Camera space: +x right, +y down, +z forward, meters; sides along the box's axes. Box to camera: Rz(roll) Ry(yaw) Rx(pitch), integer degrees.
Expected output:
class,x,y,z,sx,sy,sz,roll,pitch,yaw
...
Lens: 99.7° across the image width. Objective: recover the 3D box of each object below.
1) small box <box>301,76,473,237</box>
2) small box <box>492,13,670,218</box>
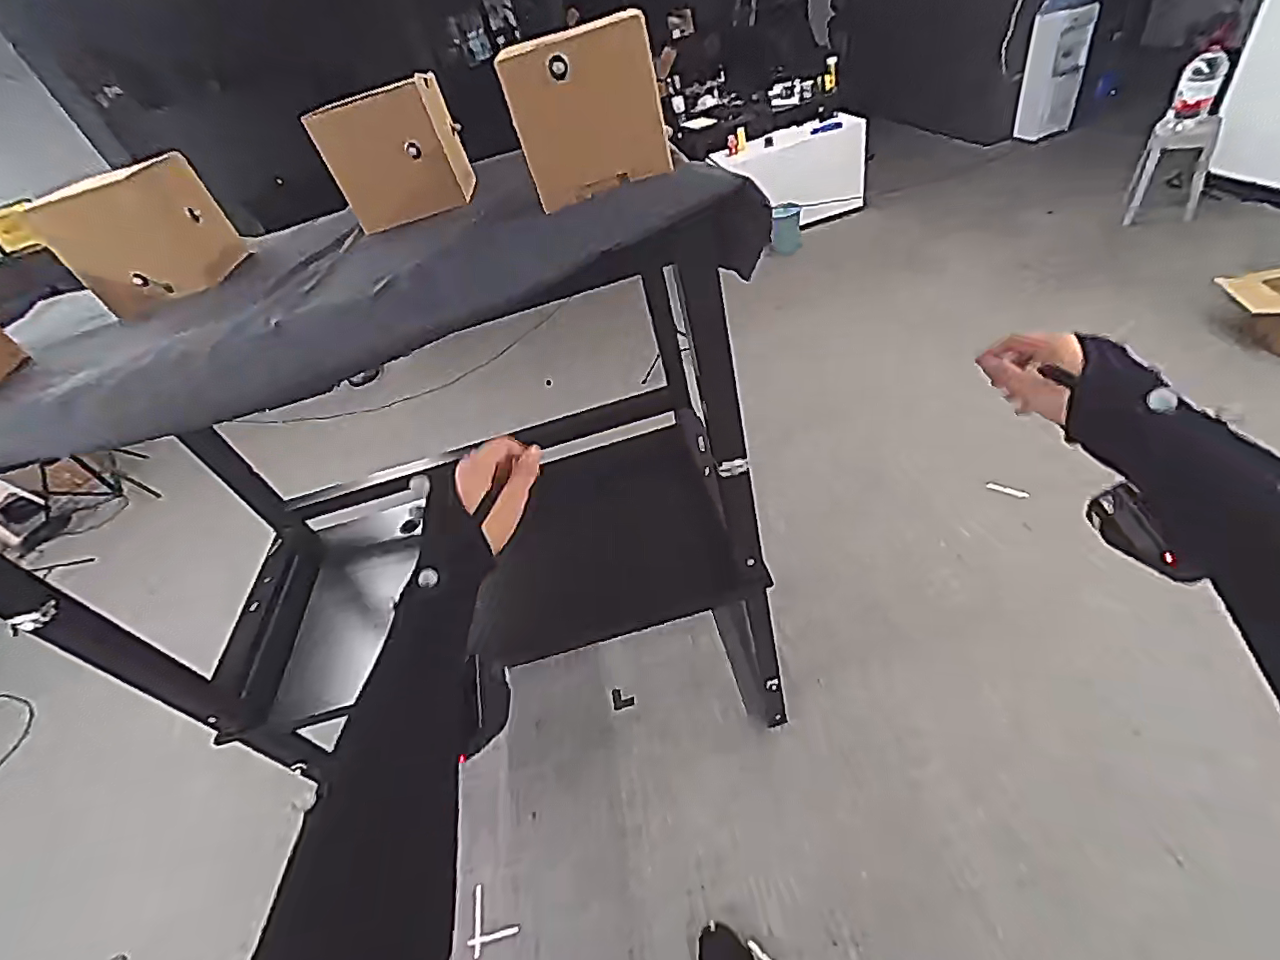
class,x,y,z,sx,sy,sz,roll,pitch,yaw
small box,-0.388,-0.519,0.870,0.179,0.176,0.168,-15,41,3
small box,-0.066,-0.452,0.679,0.168,0.176,0.179,-15,40,5
